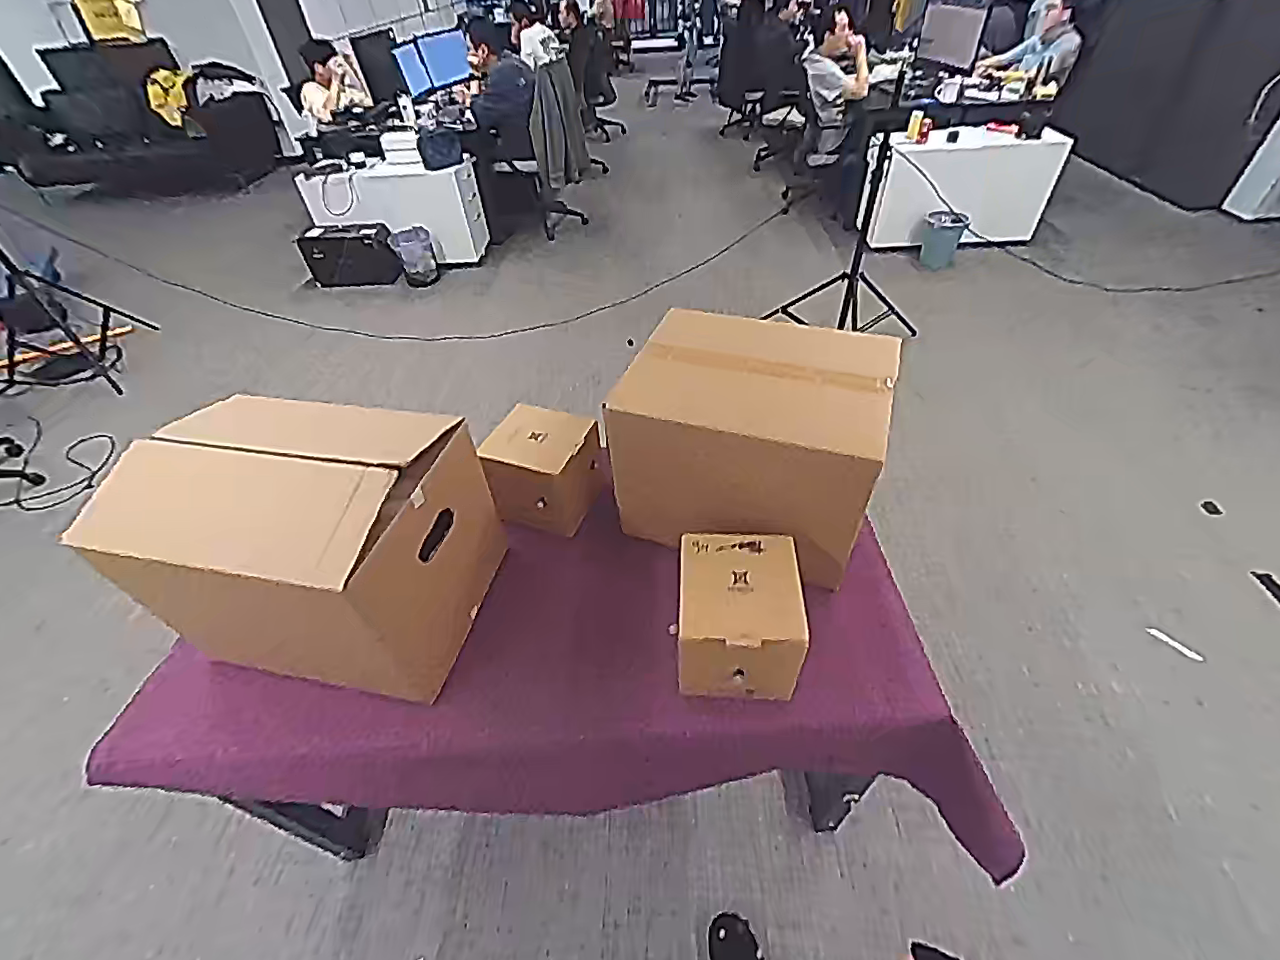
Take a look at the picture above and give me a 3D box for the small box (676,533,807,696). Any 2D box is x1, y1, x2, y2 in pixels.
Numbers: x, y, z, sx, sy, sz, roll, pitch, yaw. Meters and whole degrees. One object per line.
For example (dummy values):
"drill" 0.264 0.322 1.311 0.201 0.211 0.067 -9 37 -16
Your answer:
"small box" 0.141 0.199 0.793 0.168 0.176 0.179 1 45 6
